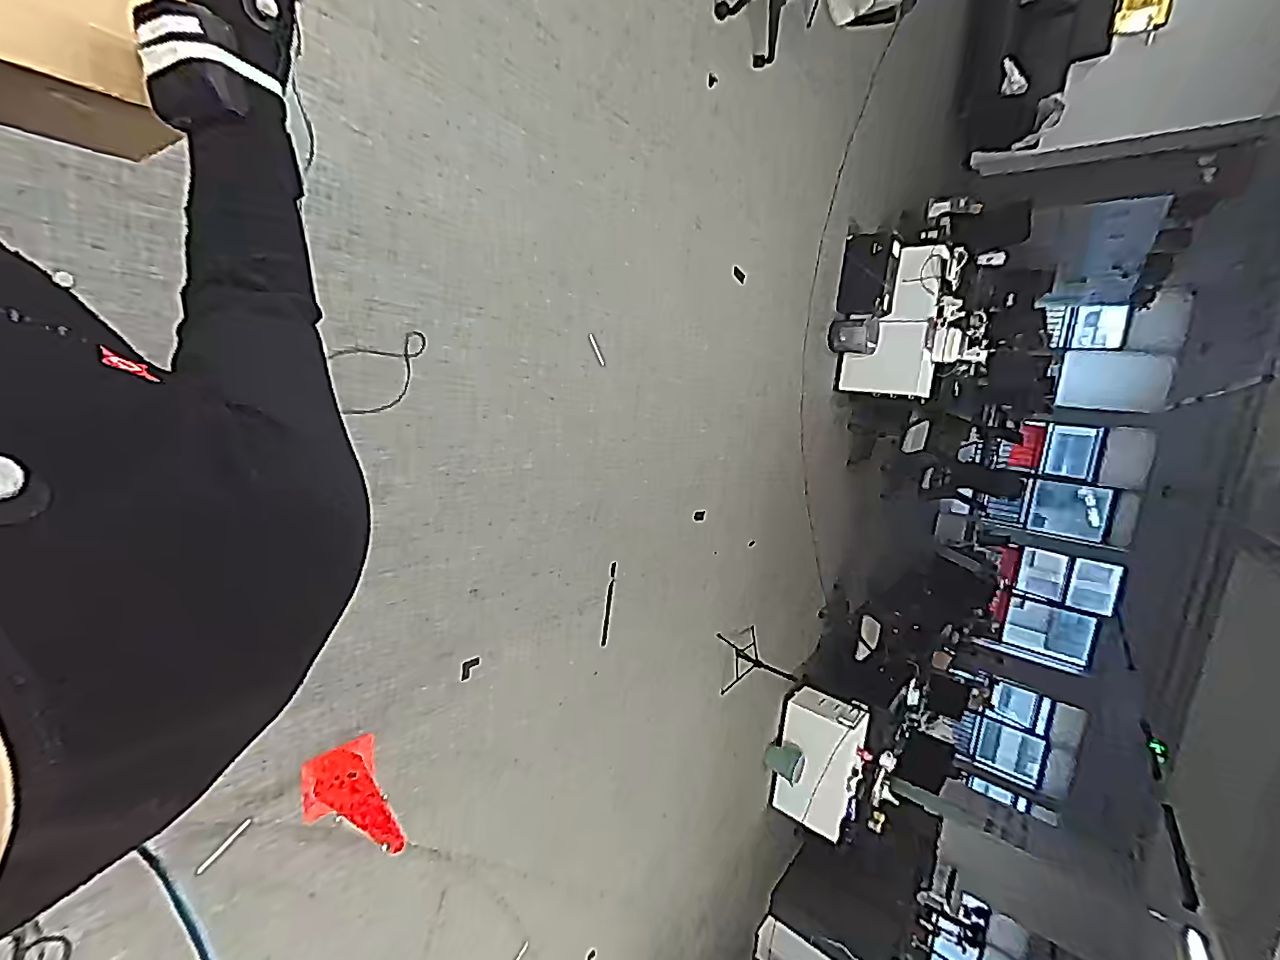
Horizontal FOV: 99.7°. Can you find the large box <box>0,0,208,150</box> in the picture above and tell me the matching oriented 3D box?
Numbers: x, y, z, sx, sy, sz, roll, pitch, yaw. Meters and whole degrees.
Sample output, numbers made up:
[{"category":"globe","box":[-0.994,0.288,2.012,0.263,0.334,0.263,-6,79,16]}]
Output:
[{"category":"large box","box":[-0.557,-0.452,0.325,0.408,0.320,0.320,-7,111,-50]}]

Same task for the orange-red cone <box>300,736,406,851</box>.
[{"category":"orange-red cone","box":[-0.757,0.906,1.490,0.198,0.360,0.199,-9,106,-51]}]
